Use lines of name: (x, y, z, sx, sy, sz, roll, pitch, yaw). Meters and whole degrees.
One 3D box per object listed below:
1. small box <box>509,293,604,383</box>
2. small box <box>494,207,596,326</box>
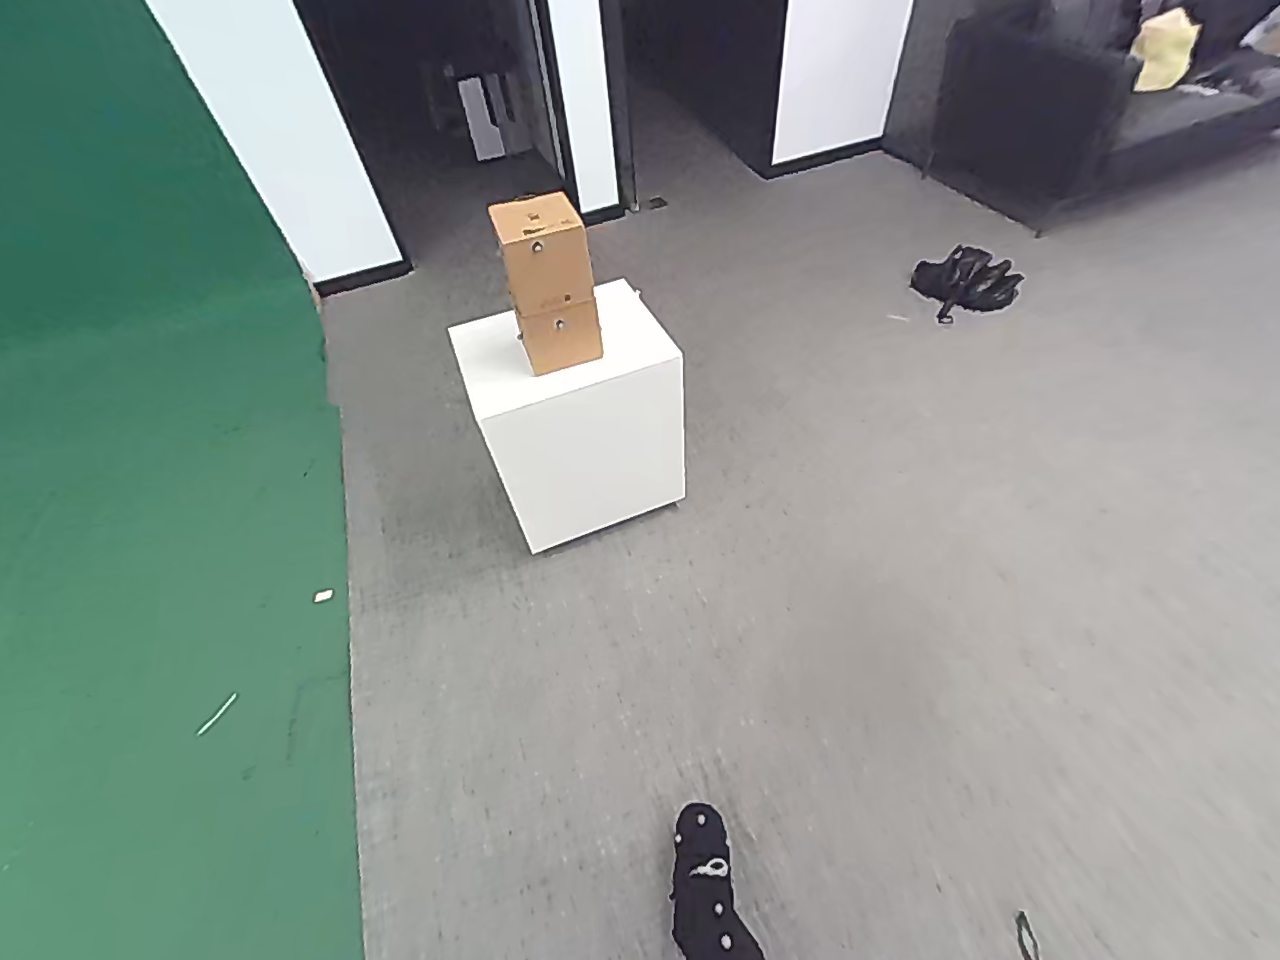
small box: (-0.196, -0.359, 1.304, 0.179, 0.176, 0.168, -18, 51, -11)
small box: (-0.204, -0.465, 1.183, 0.168, 0.176, 0.179, -19, 51, -12)
